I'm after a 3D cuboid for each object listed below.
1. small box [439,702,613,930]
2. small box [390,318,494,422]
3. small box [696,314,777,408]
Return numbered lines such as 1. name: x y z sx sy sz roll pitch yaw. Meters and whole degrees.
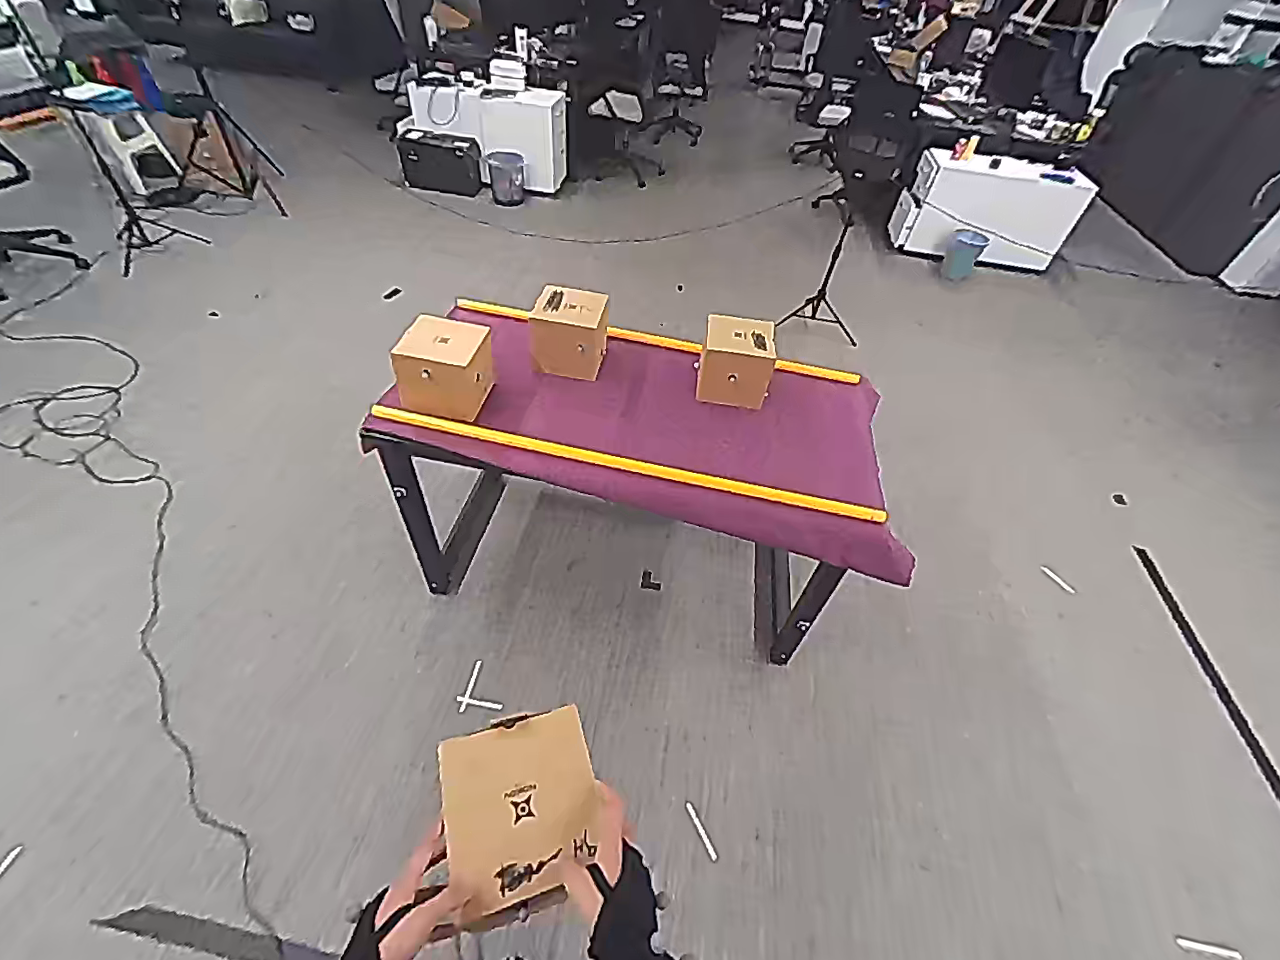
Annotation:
1. small box: -0.138 0.399 0.646 0.168 0.176 0.179 -10 50 -16
2. small box: -0.461 -0.260 1.295 0.179 0.176 0.168 10 47 1
3. small box: 0.250 -0.309 1.420 0.179 0.176 0.168 8 48 2
